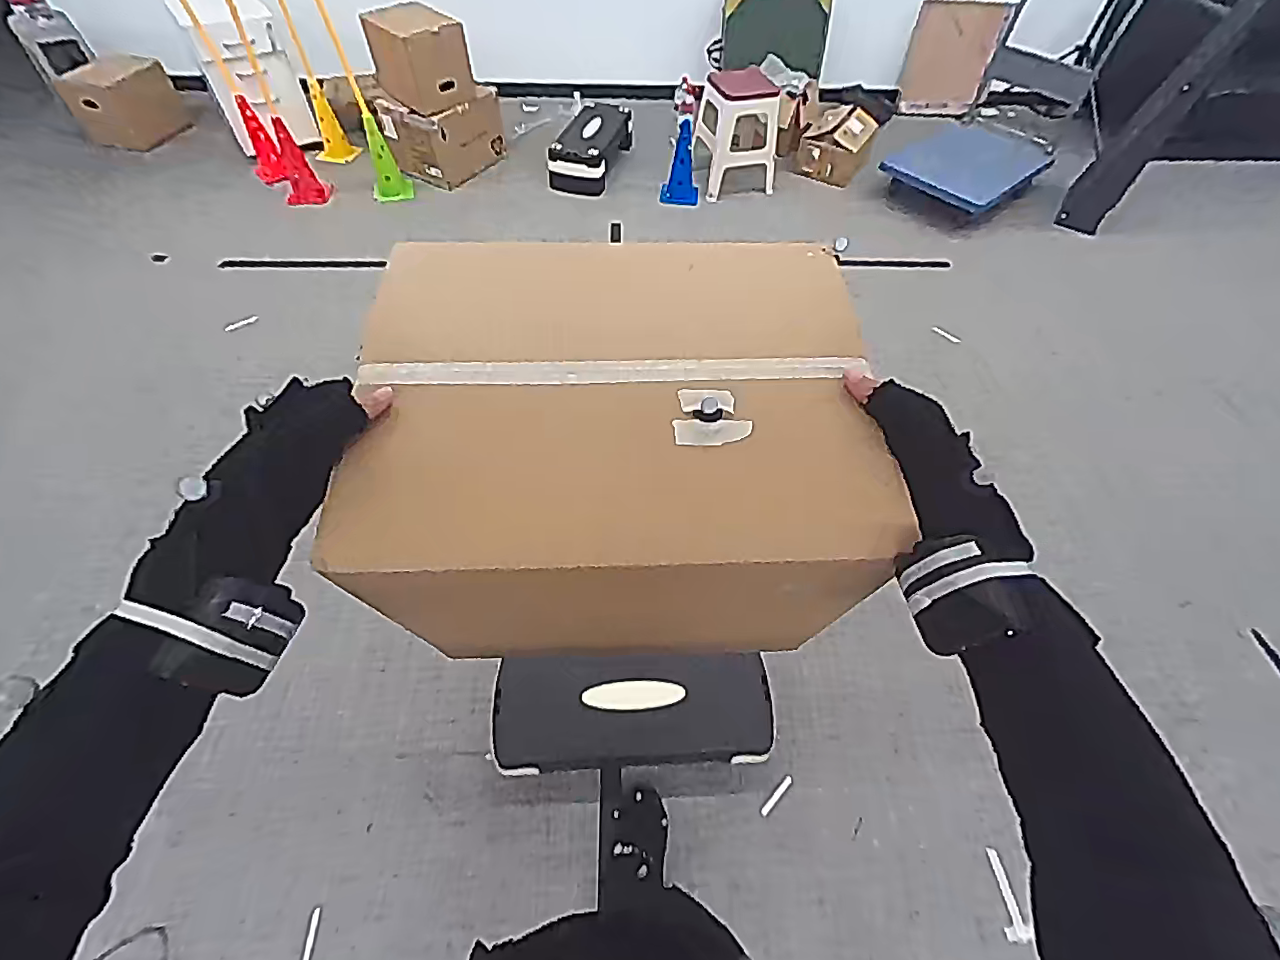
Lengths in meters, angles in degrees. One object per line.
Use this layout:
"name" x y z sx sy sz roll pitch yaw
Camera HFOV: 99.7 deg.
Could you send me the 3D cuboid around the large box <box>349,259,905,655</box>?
"large box" -0.017 -0.007 0.580 0.408 0.320 0.320 -1 62 -2
